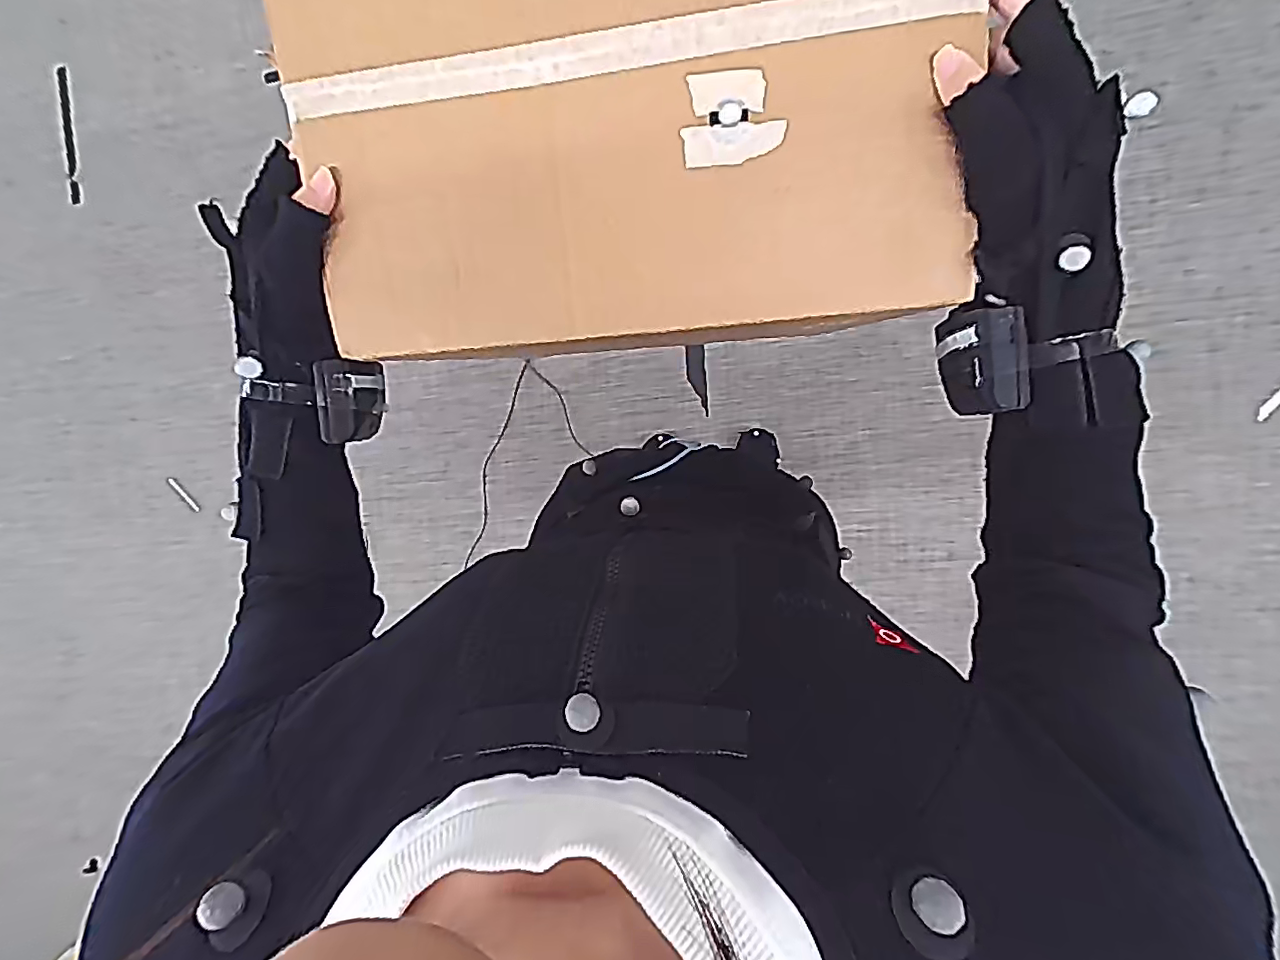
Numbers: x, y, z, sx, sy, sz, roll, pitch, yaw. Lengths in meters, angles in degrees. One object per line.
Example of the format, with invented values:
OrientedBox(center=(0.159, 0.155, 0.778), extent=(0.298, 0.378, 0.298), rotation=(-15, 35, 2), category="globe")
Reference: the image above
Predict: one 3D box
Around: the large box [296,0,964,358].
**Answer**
OrientedBox(center=(0.000, -0.284, 0.471), extent=(0.408, 0.320, 0.320), rotation=(-4, 103, 7), category="large box")
